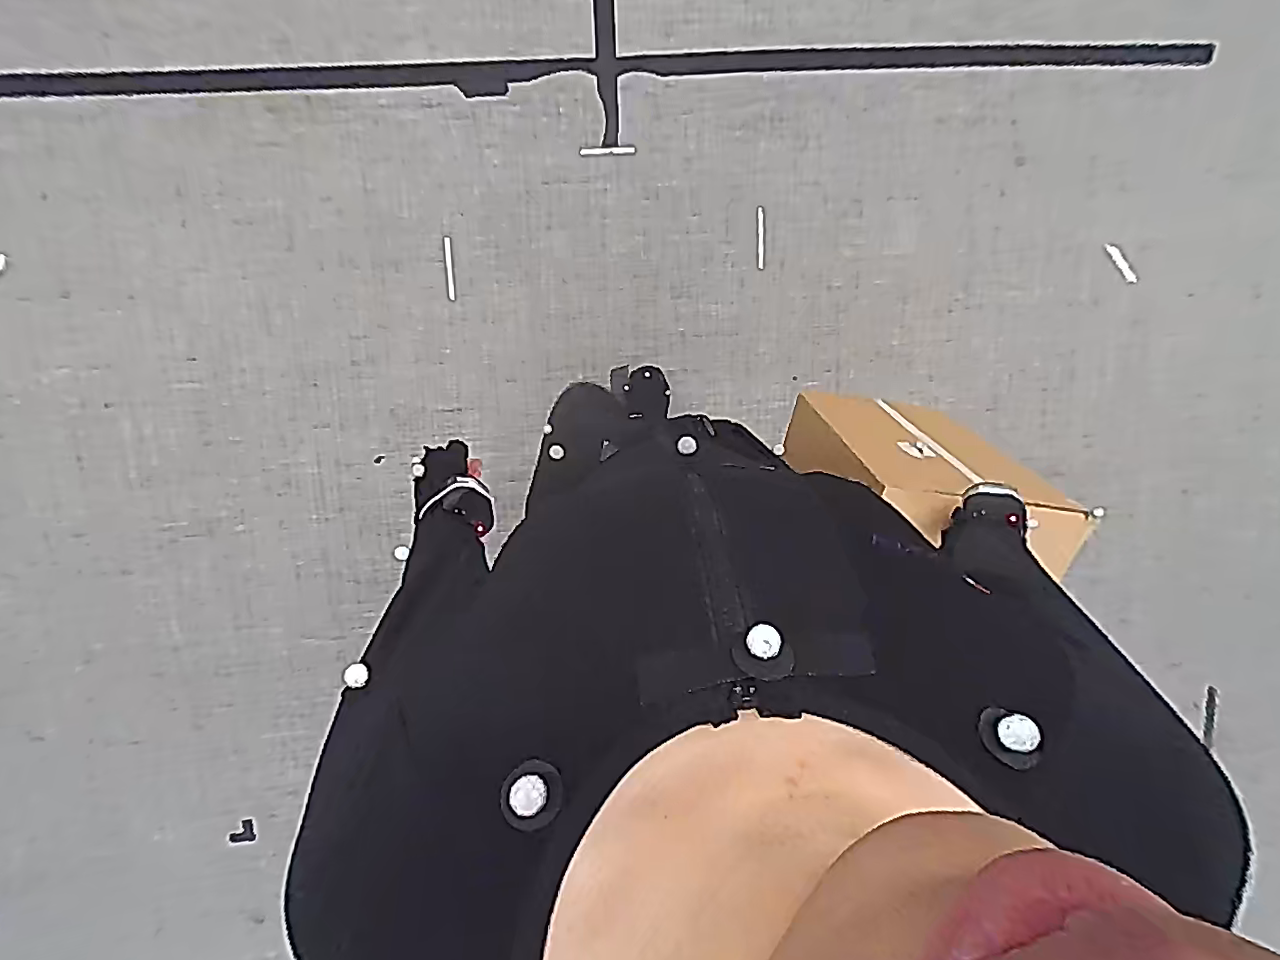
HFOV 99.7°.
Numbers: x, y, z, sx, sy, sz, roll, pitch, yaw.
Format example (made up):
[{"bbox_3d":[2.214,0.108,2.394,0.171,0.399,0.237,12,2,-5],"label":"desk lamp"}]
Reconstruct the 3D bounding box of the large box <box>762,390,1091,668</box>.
[{"bbox_3d":[0.449,0.067,0.979,0.320,0.408,0.320,7,118,-5],"label":"large box"}]
